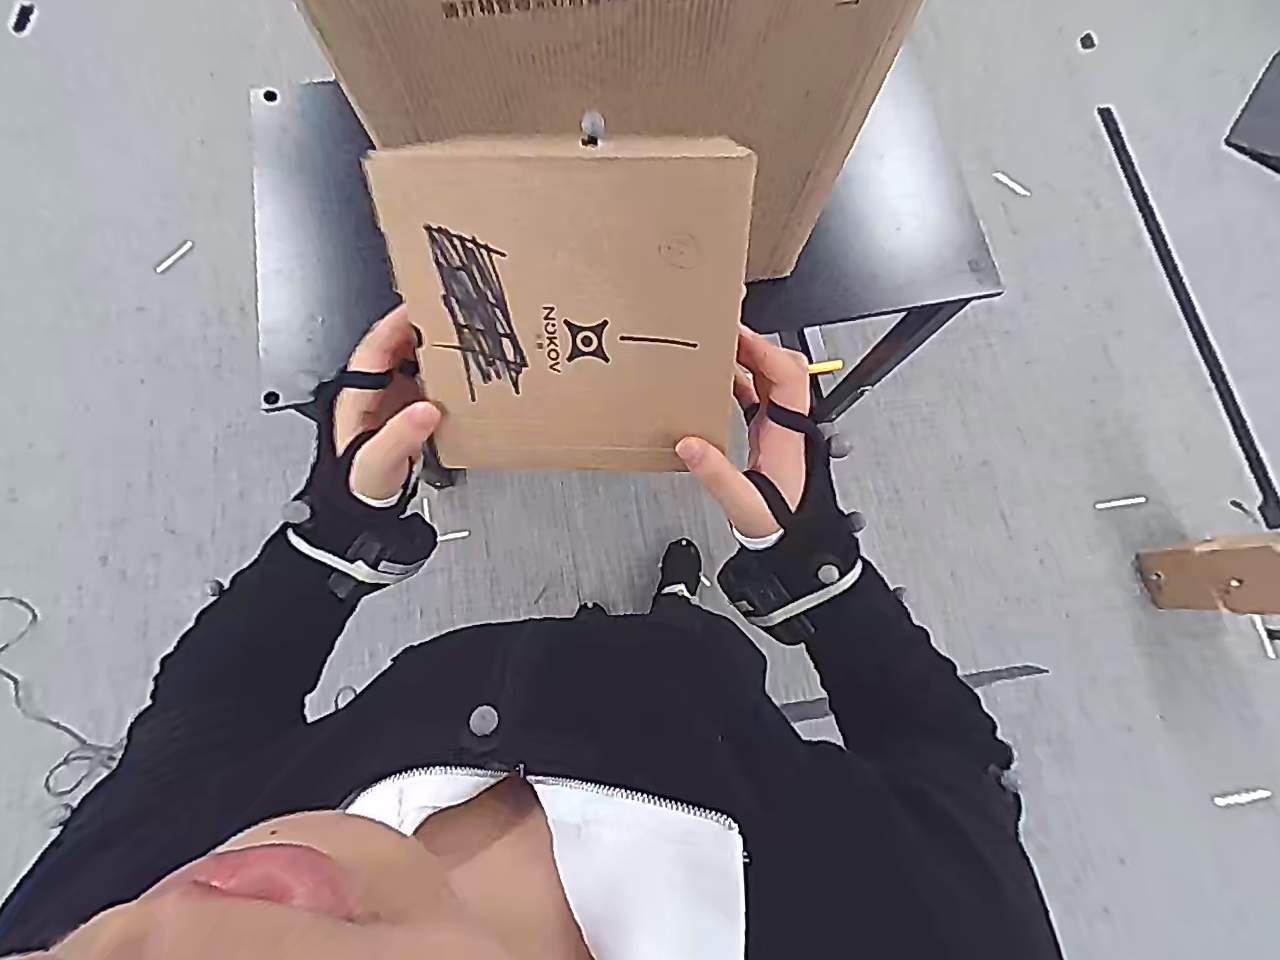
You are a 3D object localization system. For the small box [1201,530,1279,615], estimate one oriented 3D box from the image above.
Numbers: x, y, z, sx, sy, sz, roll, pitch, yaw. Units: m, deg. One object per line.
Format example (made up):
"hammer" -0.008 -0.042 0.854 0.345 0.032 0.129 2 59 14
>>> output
"small box" 1.530 0.216 1.291 0.179 0.176 0.168 -17 77 -5

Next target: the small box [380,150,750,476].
"small box" -0.031 -0.117 0.356 0.179 0.176 0.168 1 123 3

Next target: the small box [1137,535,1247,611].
"small box" 1.514 0.251 1.452 0.179 0.176 0.168 -13 77 -2
